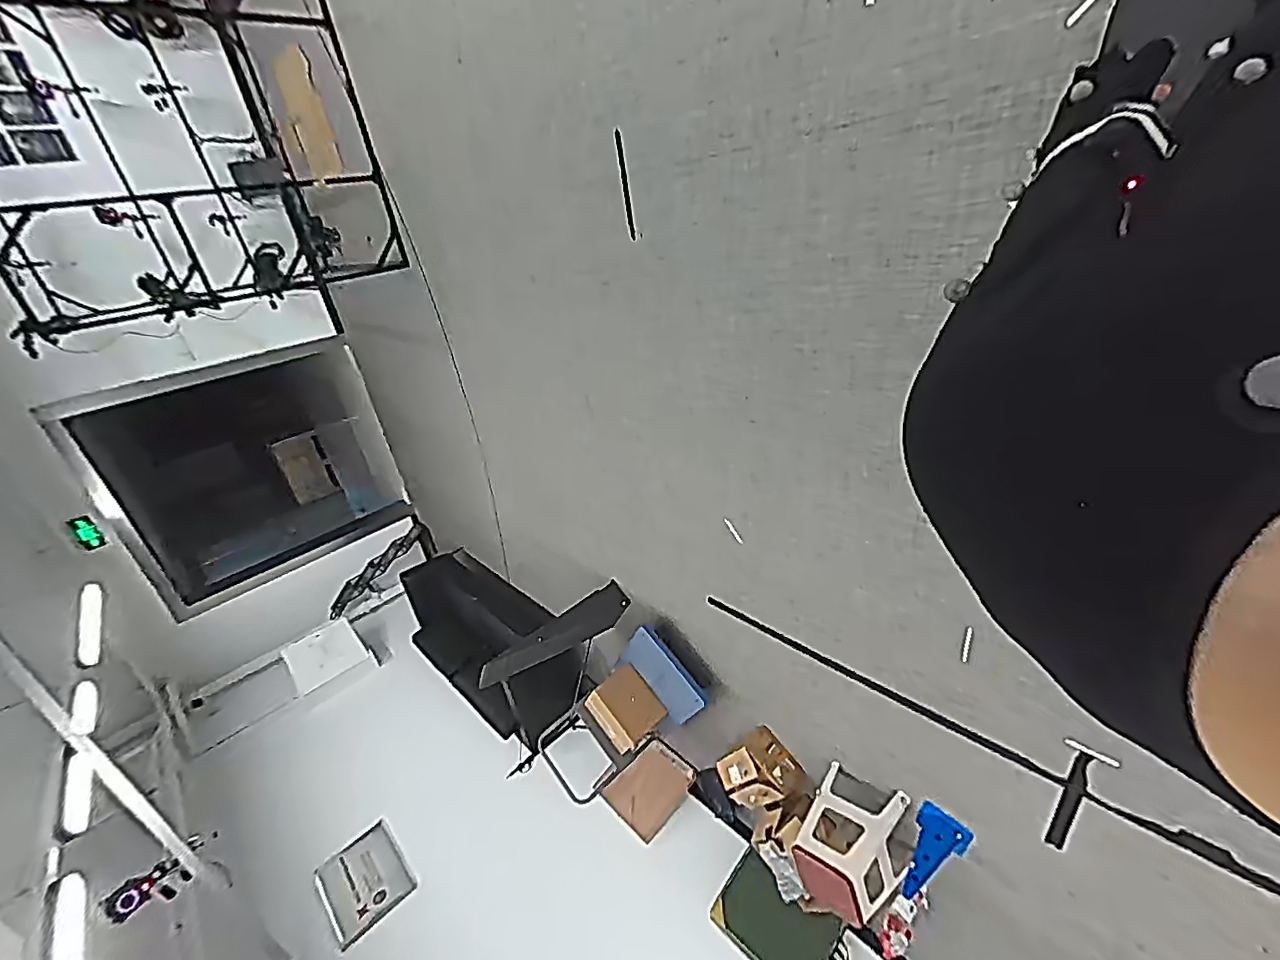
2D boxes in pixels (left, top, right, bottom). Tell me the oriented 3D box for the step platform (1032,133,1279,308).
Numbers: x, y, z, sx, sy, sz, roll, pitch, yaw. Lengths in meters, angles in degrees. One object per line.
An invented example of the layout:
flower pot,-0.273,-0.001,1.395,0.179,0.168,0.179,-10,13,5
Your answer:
step platform,1.127,-0.466,0.968,0.684,0.204,0.286,19,128,46
